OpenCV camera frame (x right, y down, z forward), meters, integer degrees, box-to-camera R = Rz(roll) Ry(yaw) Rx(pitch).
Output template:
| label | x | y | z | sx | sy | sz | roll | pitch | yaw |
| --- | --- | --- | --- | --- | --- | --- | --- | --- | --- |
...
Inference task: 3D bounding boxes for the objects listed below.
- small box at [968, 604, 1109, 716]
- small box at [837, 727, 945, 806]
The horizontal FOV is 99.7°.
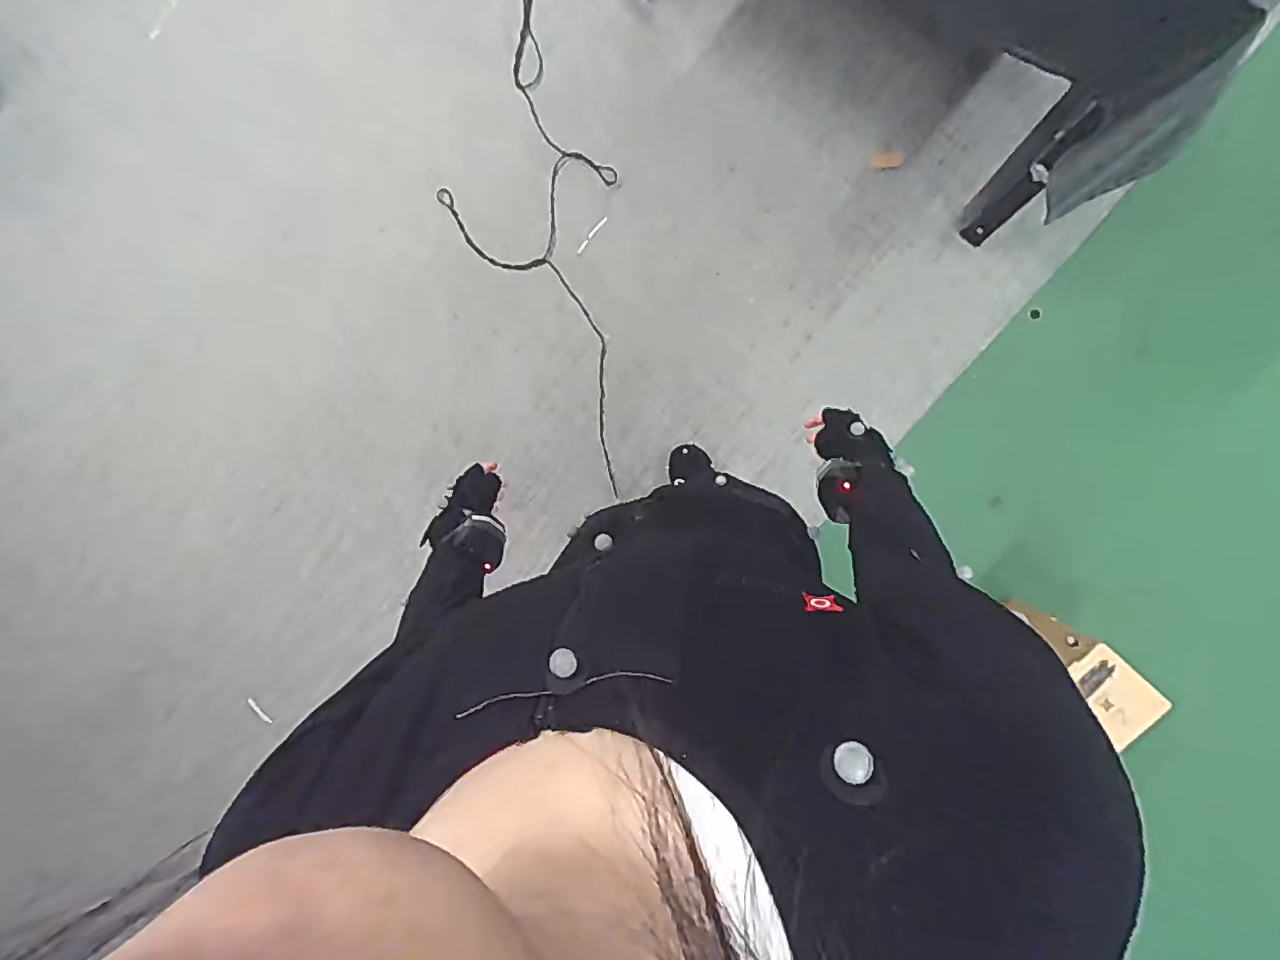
| label | x | y | z | sx | sy | sz | roll | pitch | yaw |
| --- | --- | --- | --- | --- | --- | --- | --- | --- | --- |
| small box | 0.932 | 0.414 | 1.287 | 0.168 | 0.176 | 0.179 | -45 | 85 | 6 |
| small box | 0.620 | 0.755 | 1.339 | 0.179 | 0.176 | 0.168 | 42 | 96 | 6 |
